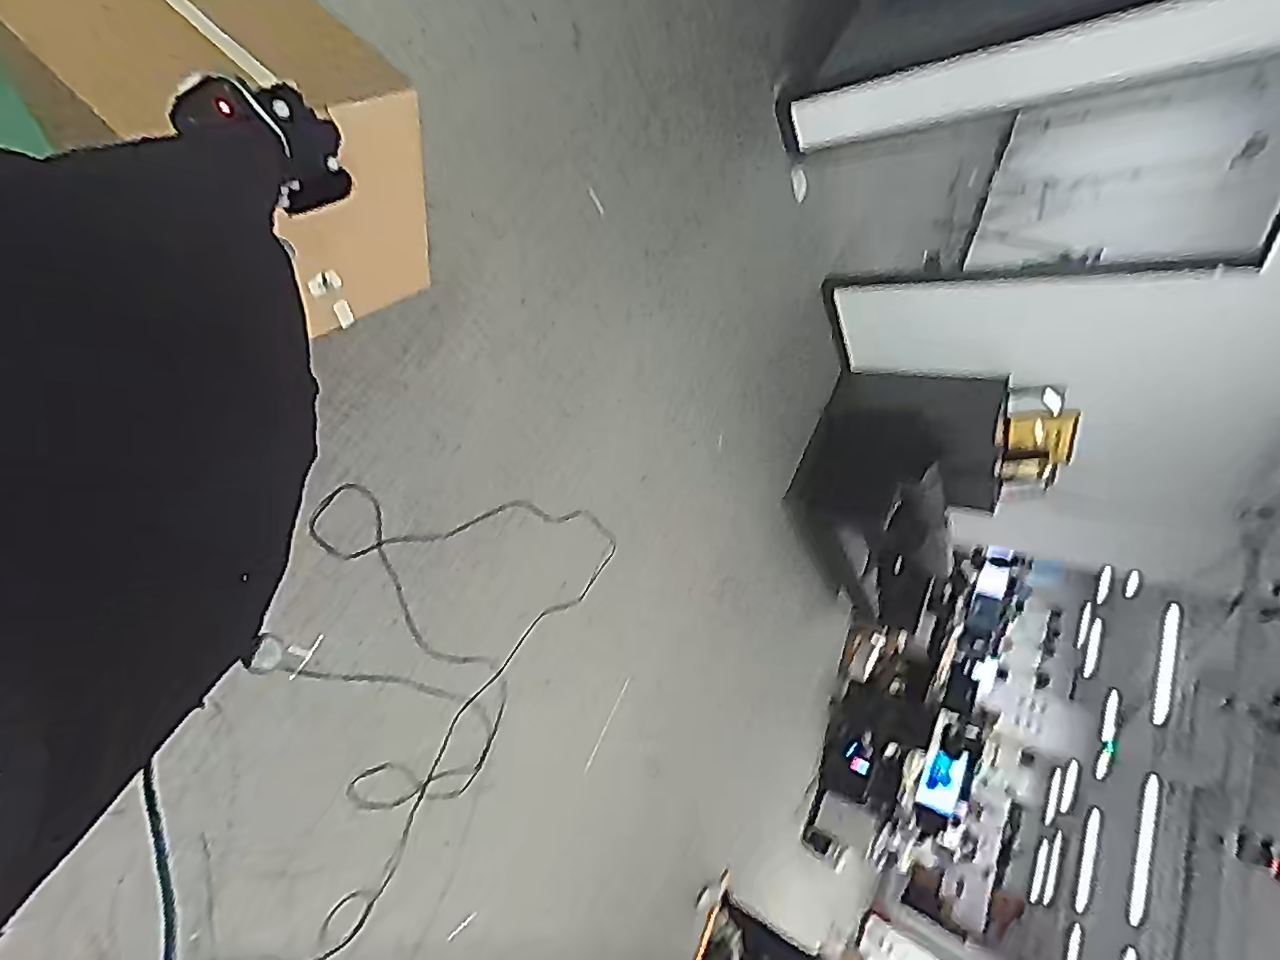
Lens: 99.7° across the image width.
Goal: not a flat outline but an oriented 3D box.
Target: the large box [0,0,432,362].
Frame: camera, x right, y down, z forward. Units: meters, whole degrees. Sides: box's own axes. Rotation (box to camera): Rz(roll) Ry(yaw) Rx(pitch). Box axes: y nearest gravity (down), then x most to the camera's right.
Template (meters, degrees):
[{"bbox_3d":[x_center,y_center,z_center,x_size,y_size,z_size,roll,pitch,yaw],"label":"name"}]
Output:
[{"bbox_3d":[-0.558,-0.447,0.758,0.320,0.408,0.320,-42,167,-33],"label":"large box"}]
